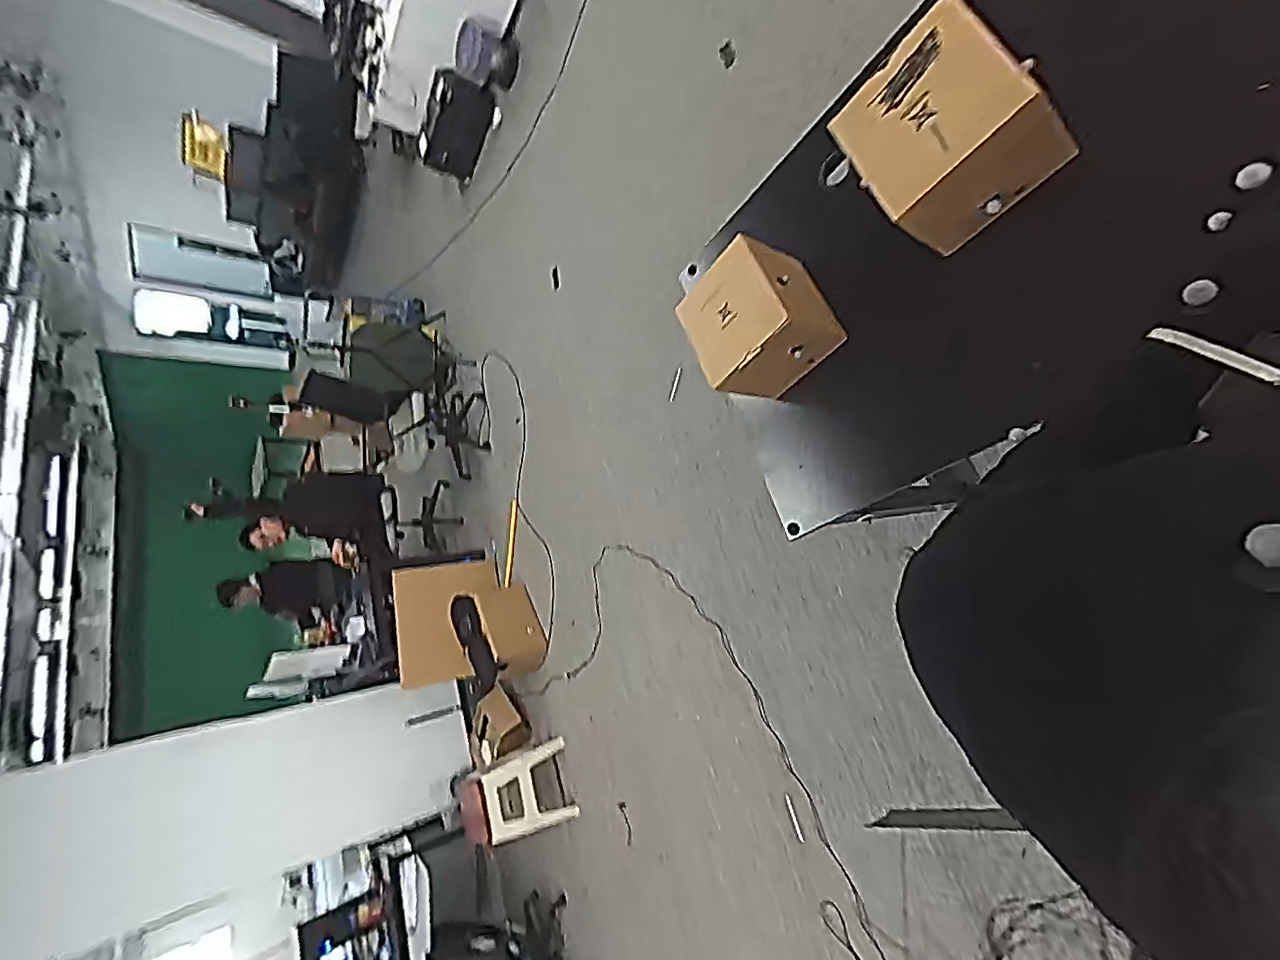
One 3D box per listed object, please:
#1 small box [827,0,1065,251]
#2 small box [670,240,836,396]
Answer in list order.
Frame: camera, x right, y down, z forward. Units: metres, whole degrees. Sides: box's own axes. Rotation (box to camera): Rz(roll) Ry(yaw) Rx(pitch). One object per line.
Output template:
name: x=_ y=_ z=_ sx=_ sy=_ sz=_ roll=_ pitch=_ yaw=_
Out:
small box: x=0.371 y=-0.415 z=0.663 sx=0.168 sy=0.176 sz=0.179 roll=-39 pitch=63 yaw=43
small box: x=0.186 y=-0.251 z=0.885 sx=0.168 sy=0.176 sz=0.179 roll=-42 pitch=60 yaw=40
